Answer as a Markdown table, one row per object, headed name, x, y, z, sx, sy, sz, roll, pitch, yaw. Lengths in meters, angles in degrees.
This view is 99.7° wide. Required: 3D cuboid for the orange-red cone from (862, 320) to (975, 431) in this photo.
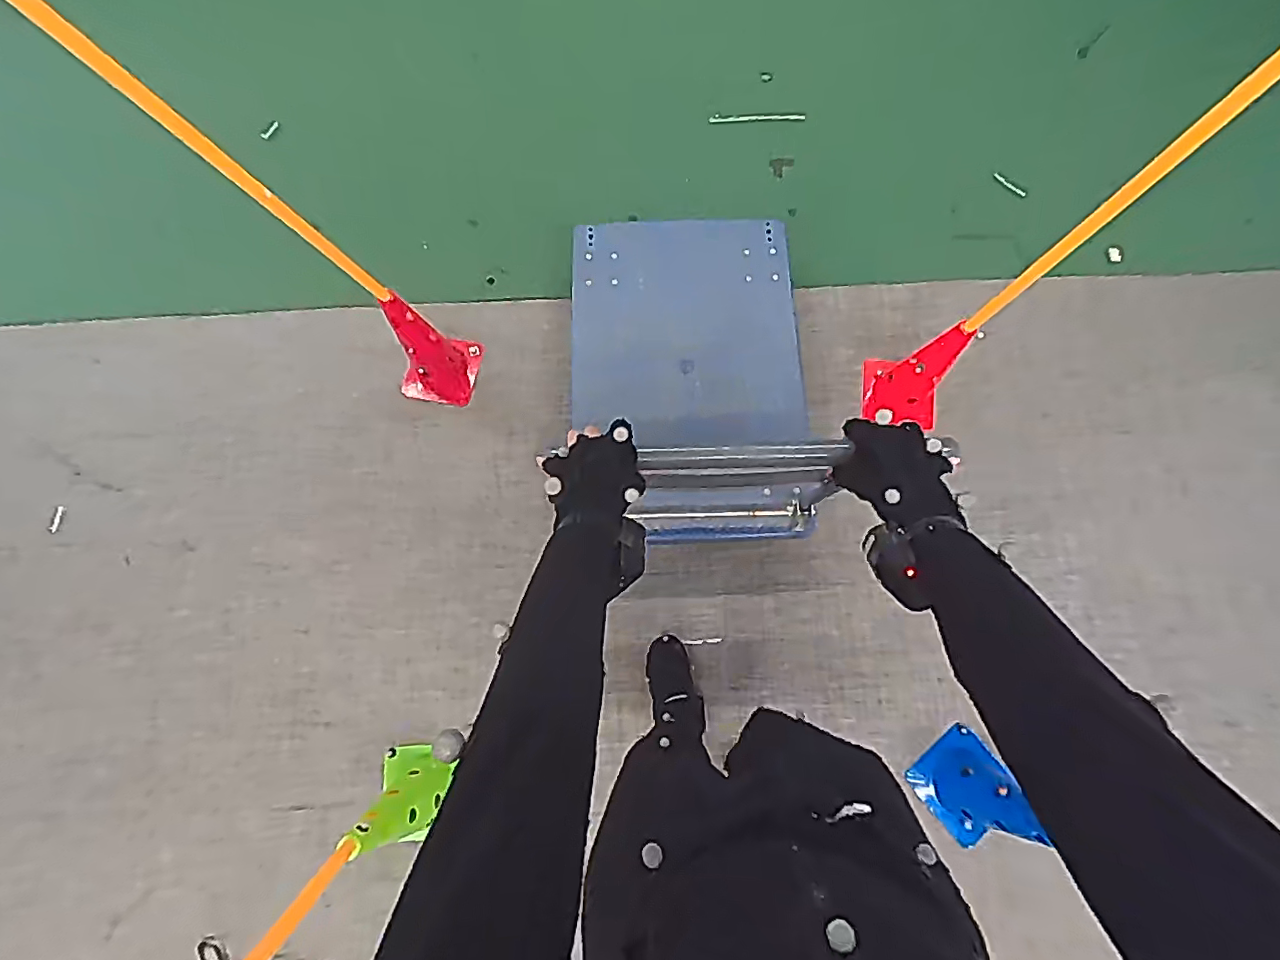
| name | x | y | z | sx | sy | sz | roll | pitch | yaw |
| --- | --- | --- | --- | --- | --- | --- | --- | --- | --- |
| orange-red cone | 0.721 | -0.284 | 1.349 | 0.198 | 0.360 | 0.199 | 8 | 75 | 4 |
